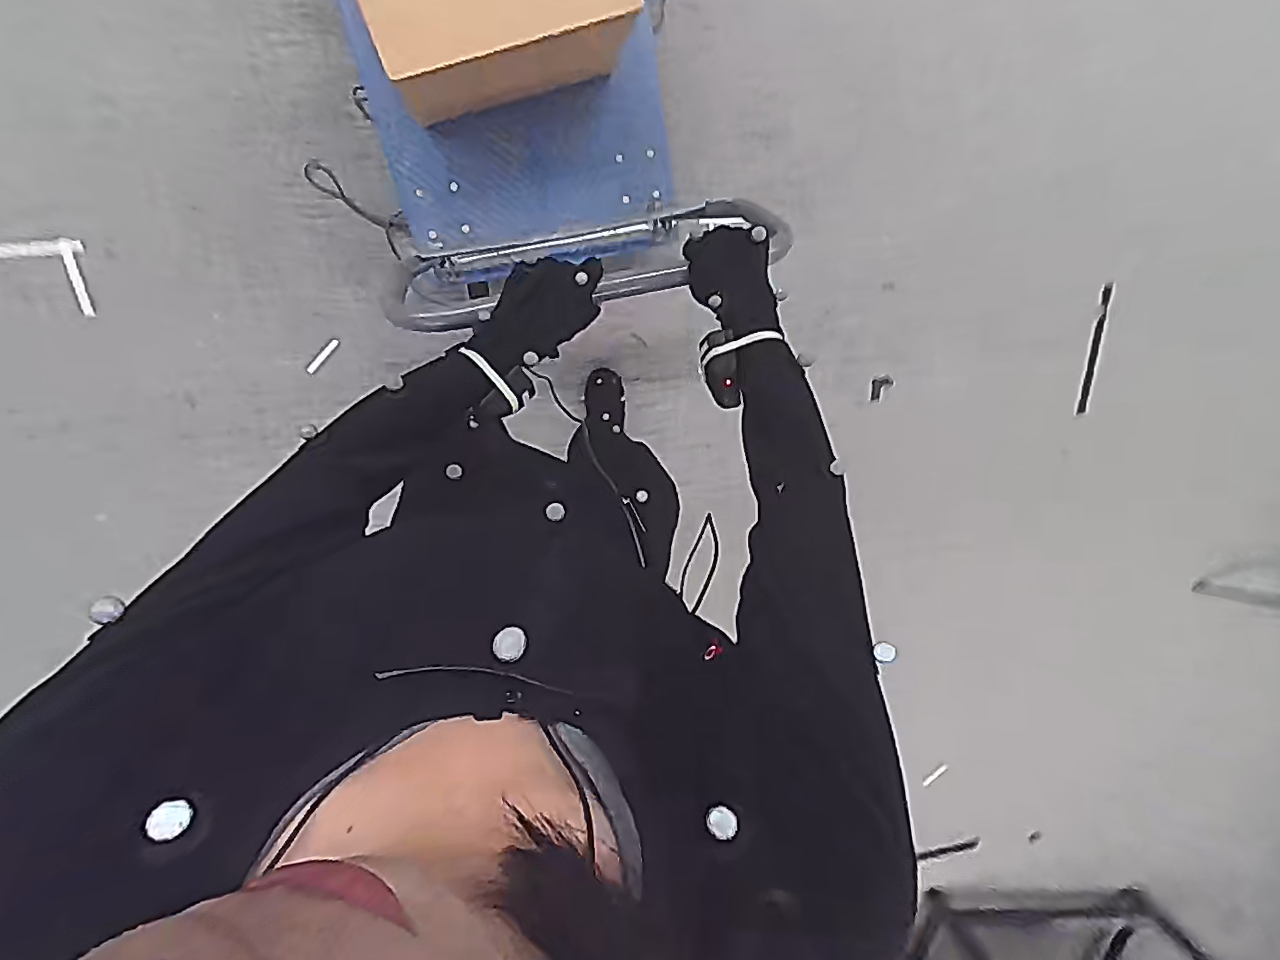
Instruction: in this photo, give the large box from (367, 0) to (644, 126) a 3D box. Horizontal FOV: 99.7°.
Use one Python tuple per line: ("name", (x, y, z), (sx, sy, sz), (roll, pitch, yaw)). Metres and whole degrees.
("large box", (-0.250, -0.848, 0.891), (0.408, 0.320, 0.320), (-20, 114, -5))
